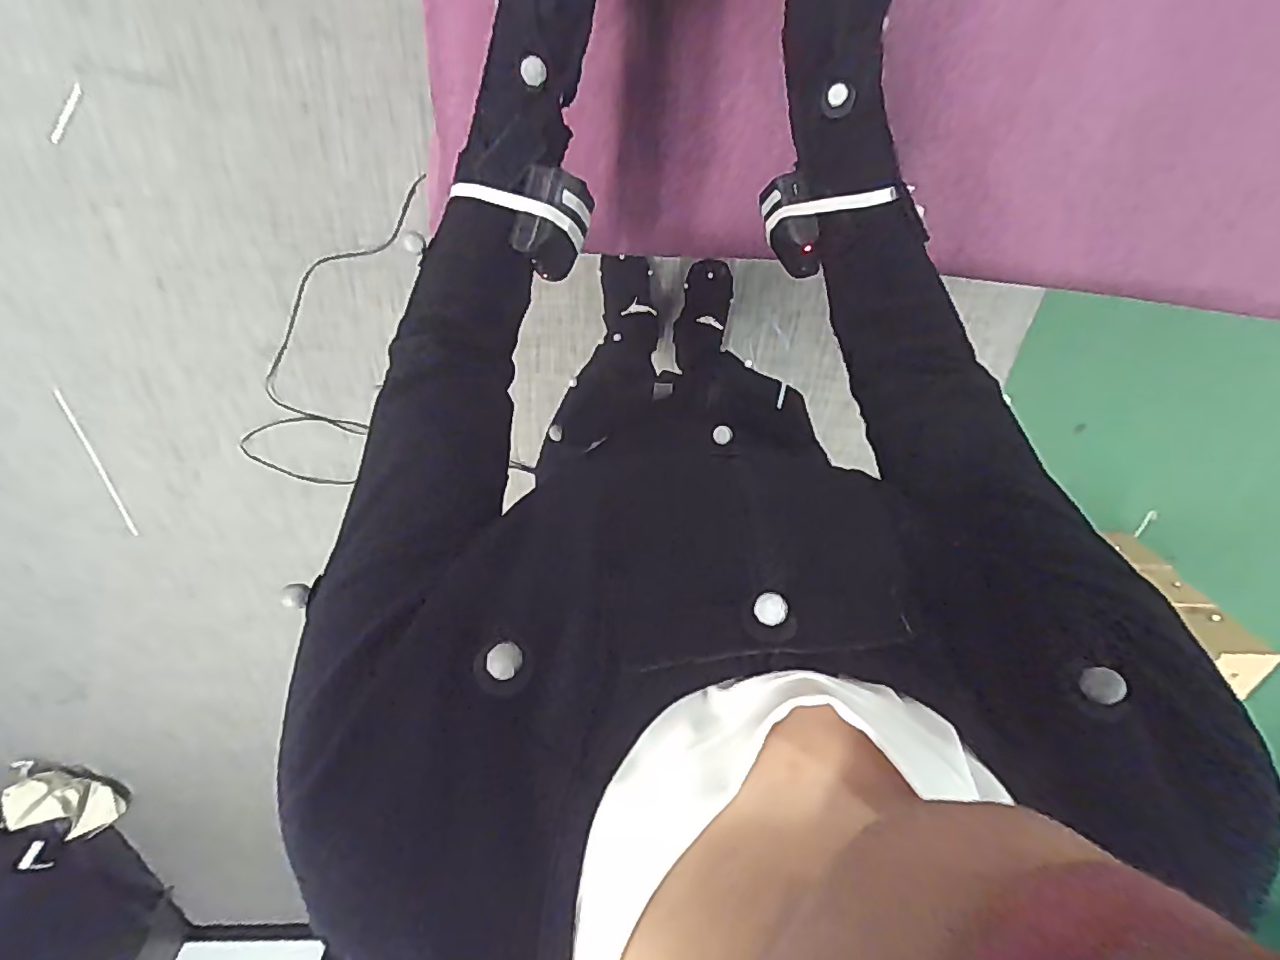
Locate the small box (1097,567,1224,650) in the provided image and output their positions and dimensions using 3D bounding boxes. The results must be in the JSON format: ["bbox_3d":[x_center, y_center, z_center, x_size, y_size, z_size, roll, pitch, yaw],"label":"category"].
[{"bbox_3d":[1.489,0.370,1.565,0.168,0.176,0.179,3,122,-2],"label":"small box"}]

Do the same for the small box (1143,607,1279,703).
[{"bbox_3d":[1.500,0.462,1.429,0.168,0.176,0.179,2,121,-2],"label":"small box"}]
